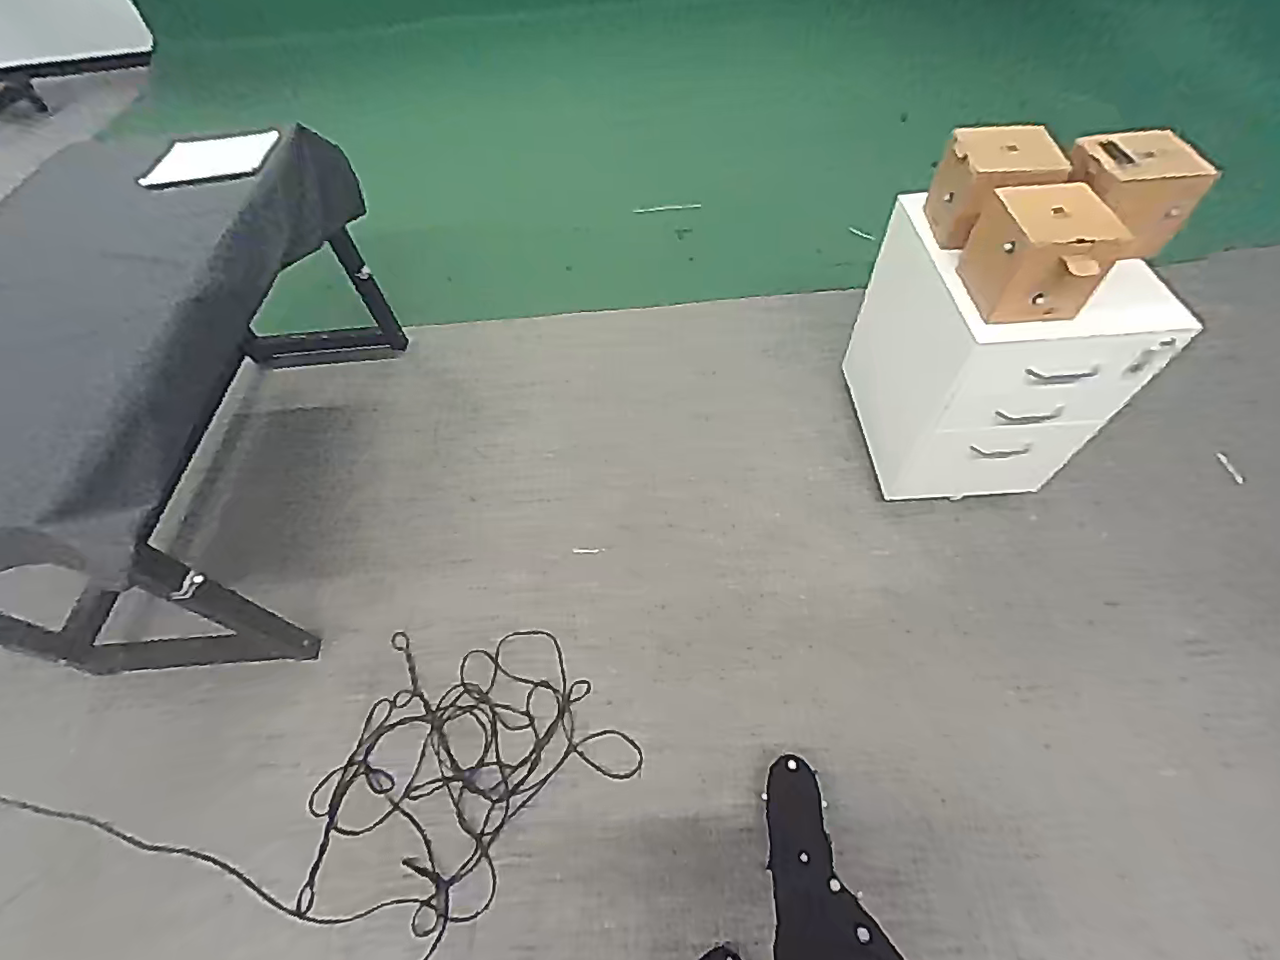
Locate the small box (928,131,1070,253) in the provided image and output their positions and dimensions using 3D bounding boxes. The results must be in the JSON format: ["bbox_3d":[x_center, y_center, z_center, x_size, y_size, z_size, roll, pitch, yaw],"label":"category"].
[{"bbox_3d":[0.722,-0.591,1.118,0.179,0.176,0.168,1,58,4],"label":"small box"}]
